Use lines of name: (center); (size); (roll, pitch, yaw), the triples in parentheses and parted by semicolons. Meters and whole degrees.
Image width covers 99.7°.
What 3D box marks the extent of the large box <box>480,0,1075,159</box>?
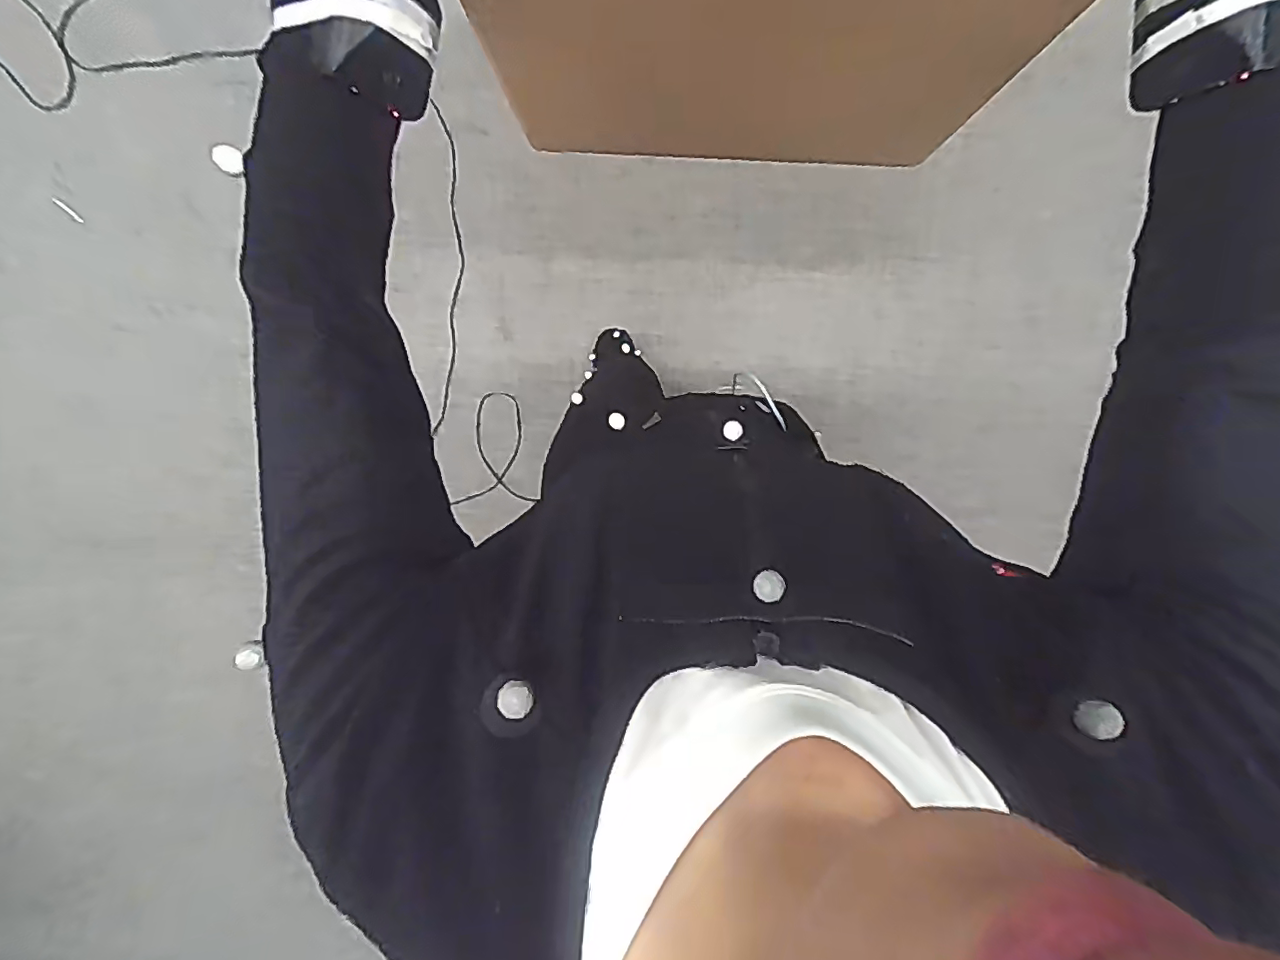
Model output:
large box: (0.091, -0.470, 0.400); (0.408, 0.320, 0.320); (2, 98, 1)
